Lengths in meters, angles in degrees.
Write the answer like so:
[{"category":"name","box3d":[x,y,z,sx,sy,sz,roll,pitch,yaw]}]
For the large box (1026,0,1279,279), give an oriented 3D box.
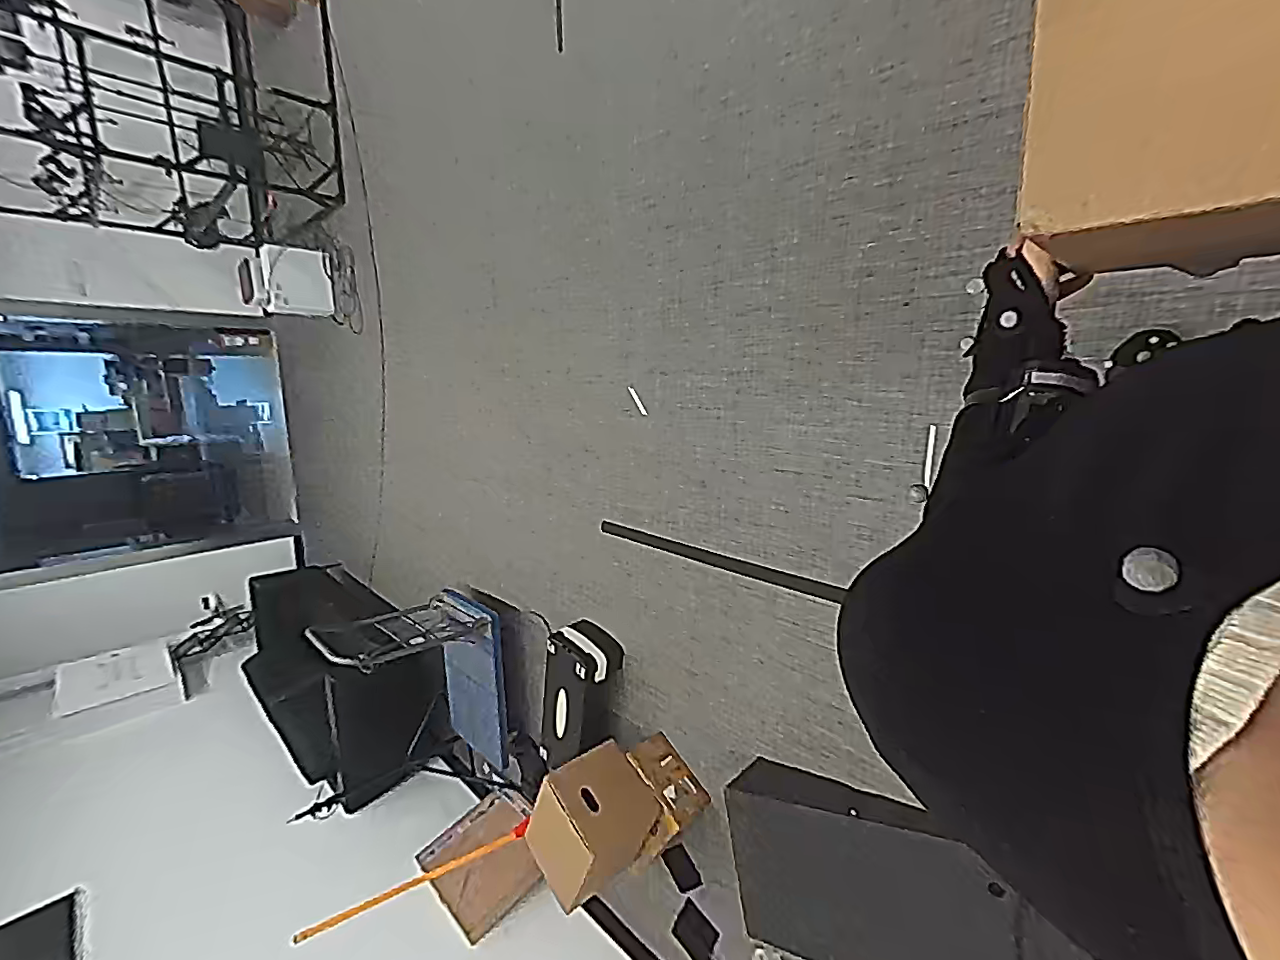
[{"category":"large box","box3d":[0.440,-0.287,0.237,0.408,0.320,0.320,8,108,41]}]
